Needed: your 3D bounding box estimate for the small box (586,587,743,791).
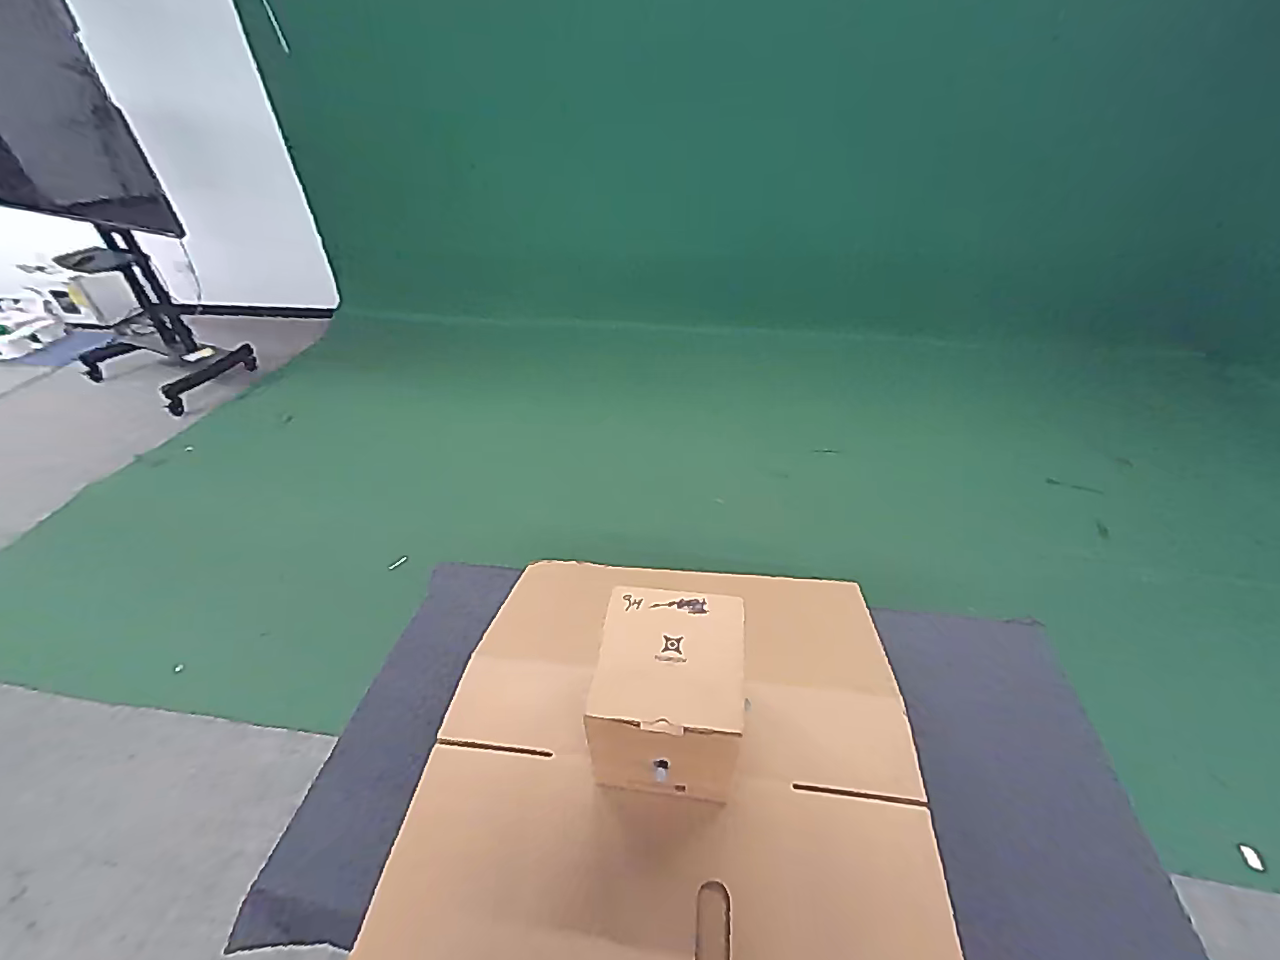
[{"bbox_3d":[0.037,0.256,0.665,0.168,0.176,0.179,2,40,6],"label":"small box"}]
